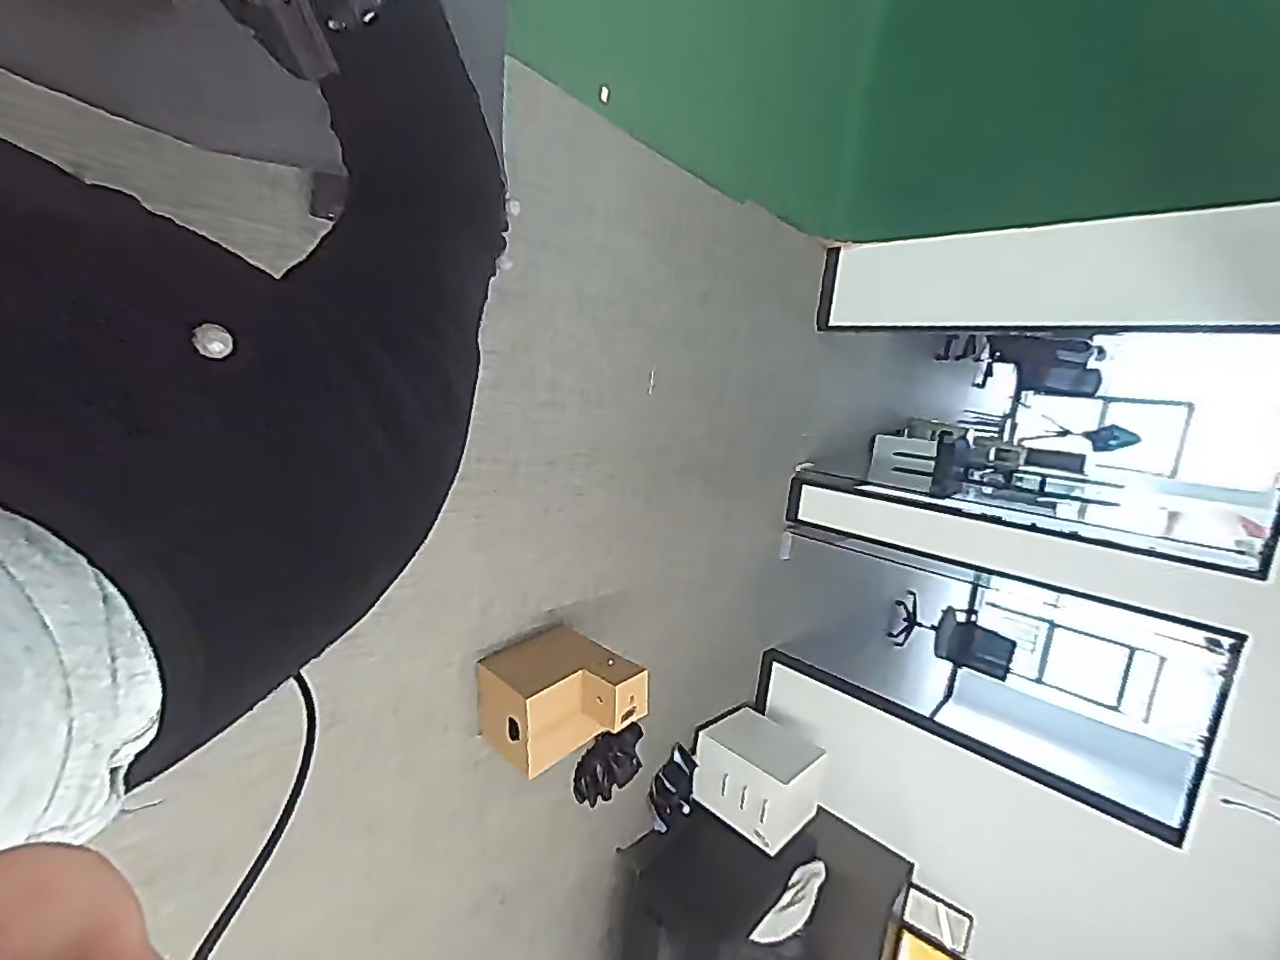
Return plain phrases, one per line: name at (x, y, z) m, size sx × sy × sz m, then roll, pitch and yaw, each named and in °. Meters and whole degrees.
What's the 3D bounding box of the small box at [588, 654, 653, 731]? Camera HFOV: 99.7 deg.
small box at (-0.070, 0.746, 1.921) m, size 0.168 × 0.176 × 0.179 m, roll -10°, pitch 103°, yaw -48°
